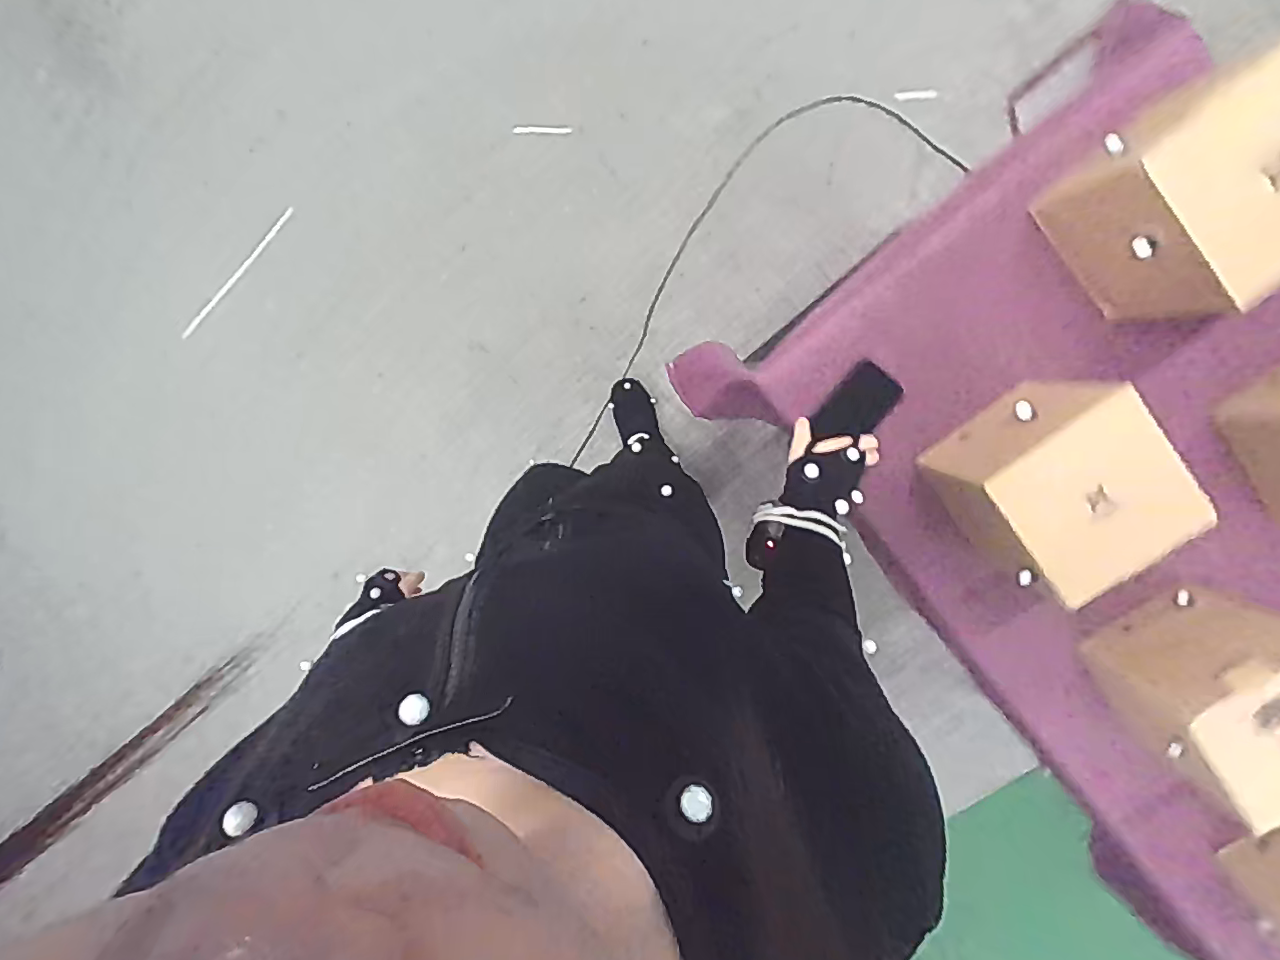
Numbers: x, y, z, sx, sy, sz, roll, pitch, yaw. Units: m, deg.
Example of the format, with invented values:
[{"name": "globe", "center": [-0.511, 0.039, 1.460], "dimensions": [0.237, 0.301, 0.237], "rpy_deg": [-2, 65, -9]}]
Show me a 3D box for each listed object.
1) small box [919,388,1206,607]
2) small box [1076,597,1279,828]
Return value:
[{"name": "small box", "center": [0.471, 0.009, 0.637], "dimensions": [0.168, 0.176, 0.179], "rpy_deg": [-37, 98, 10]}, {"name": "small box", "center": [0.707, 0.269, 0.673], "dimensions": [0.168, 0.176, 0.179], "rpy_deg": [-35, 98, 10]}]
